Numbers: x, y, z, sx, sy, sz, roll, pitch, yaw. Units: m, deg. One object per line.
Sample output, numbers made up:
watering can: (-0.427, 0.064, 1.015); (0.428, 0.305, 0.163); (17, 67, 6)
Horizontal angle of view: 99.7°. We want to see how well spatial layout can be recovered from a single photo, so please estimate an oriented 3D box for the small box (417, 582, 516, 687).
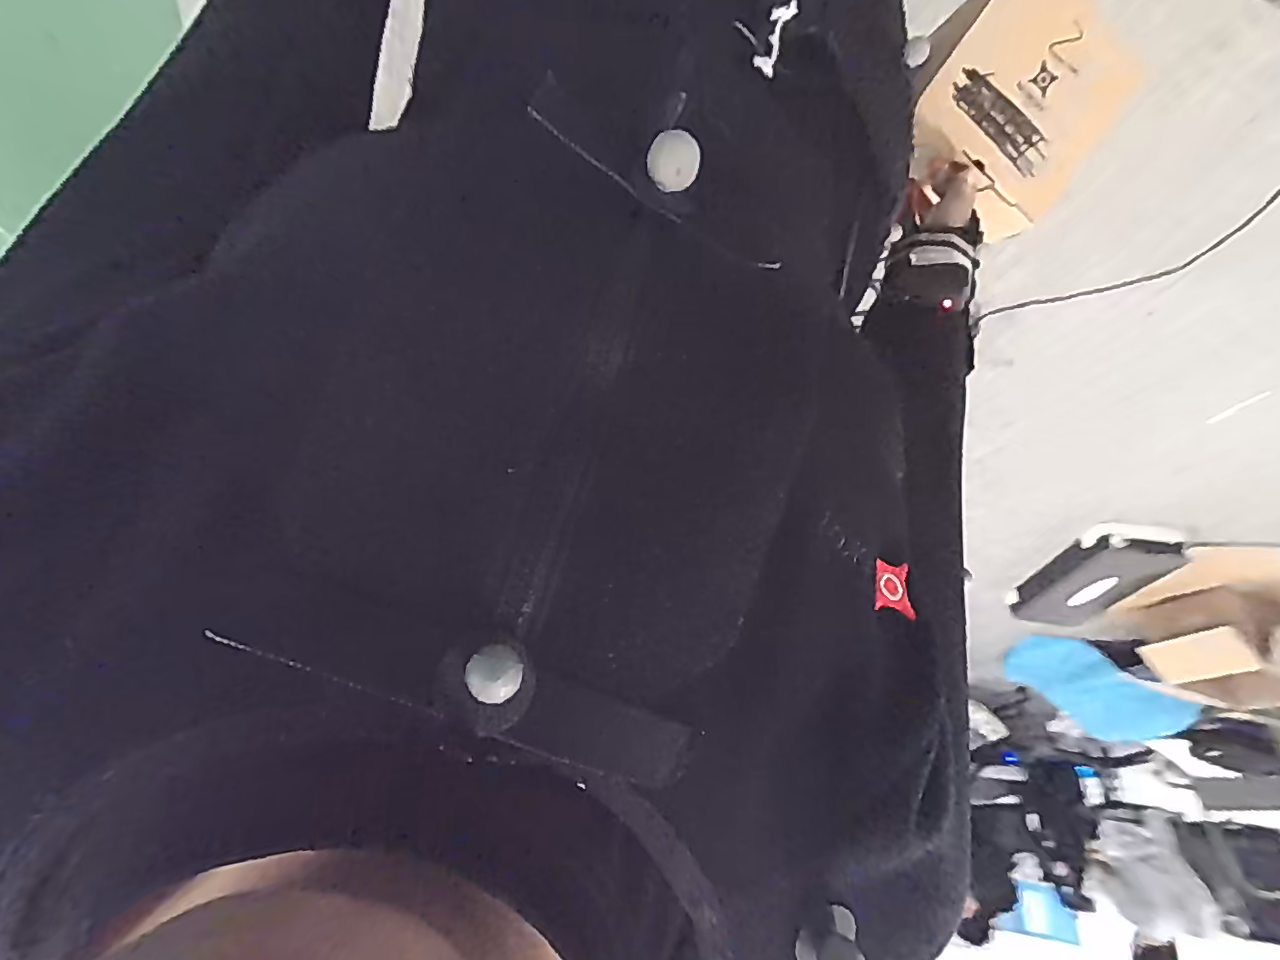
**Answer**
small box: (-0.387, 0.347, 1.218); (0.168, 0.176, 0.179); (18, 145, -8)
